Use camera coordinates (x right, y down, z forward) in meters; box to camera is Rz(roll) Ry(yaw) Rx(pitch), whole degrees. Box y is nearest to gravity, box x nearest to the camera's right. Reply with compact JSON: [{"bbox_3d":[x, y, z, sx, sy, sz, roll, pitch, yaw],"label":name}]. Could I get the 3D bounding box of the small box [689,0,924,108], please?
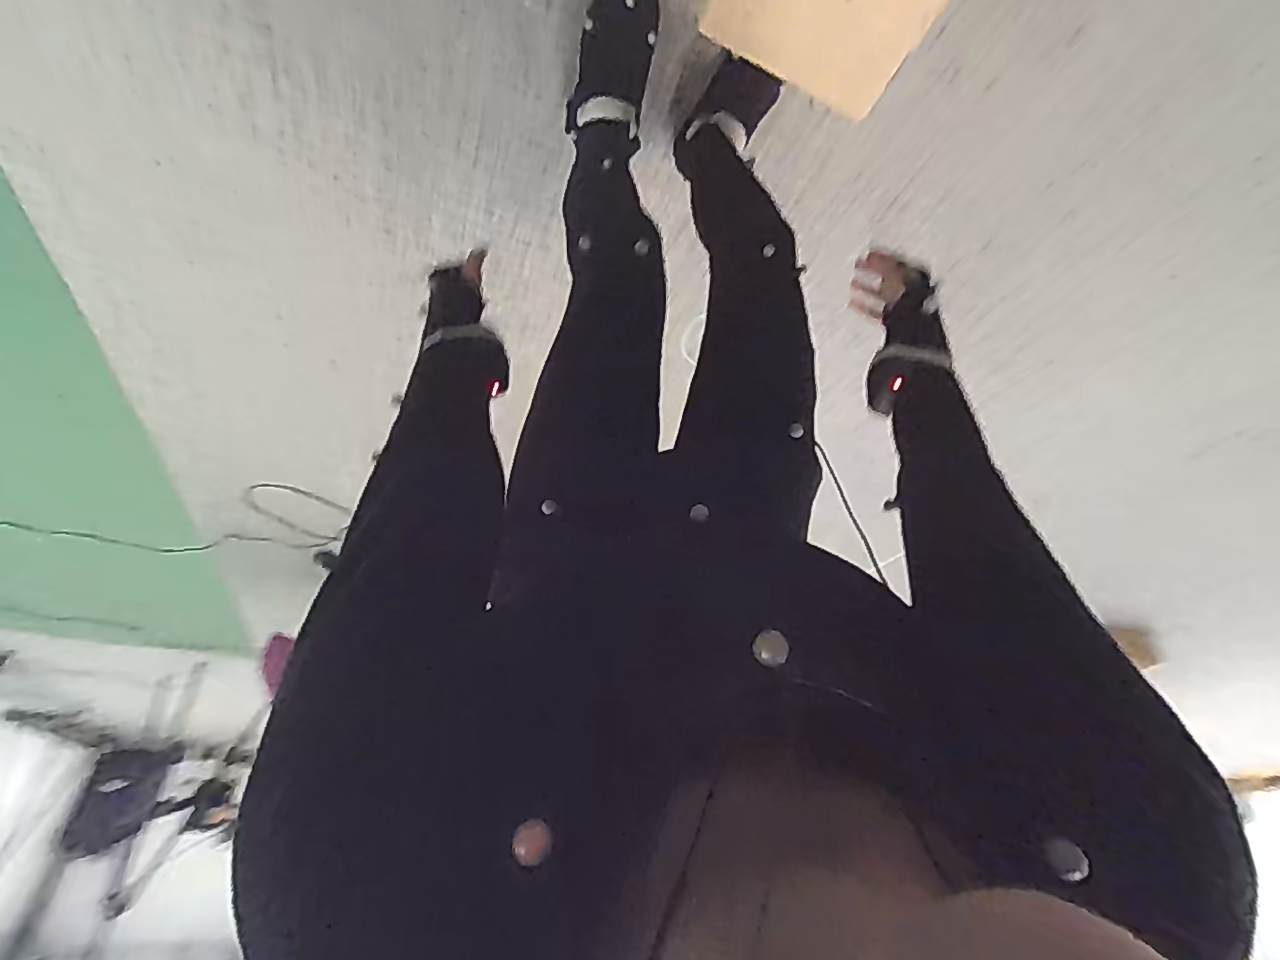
[{"bbox_3d":[0.151,-0.474,0.465,0.179,0.176,0.168,14,143,-19],"label":"small box"}]
